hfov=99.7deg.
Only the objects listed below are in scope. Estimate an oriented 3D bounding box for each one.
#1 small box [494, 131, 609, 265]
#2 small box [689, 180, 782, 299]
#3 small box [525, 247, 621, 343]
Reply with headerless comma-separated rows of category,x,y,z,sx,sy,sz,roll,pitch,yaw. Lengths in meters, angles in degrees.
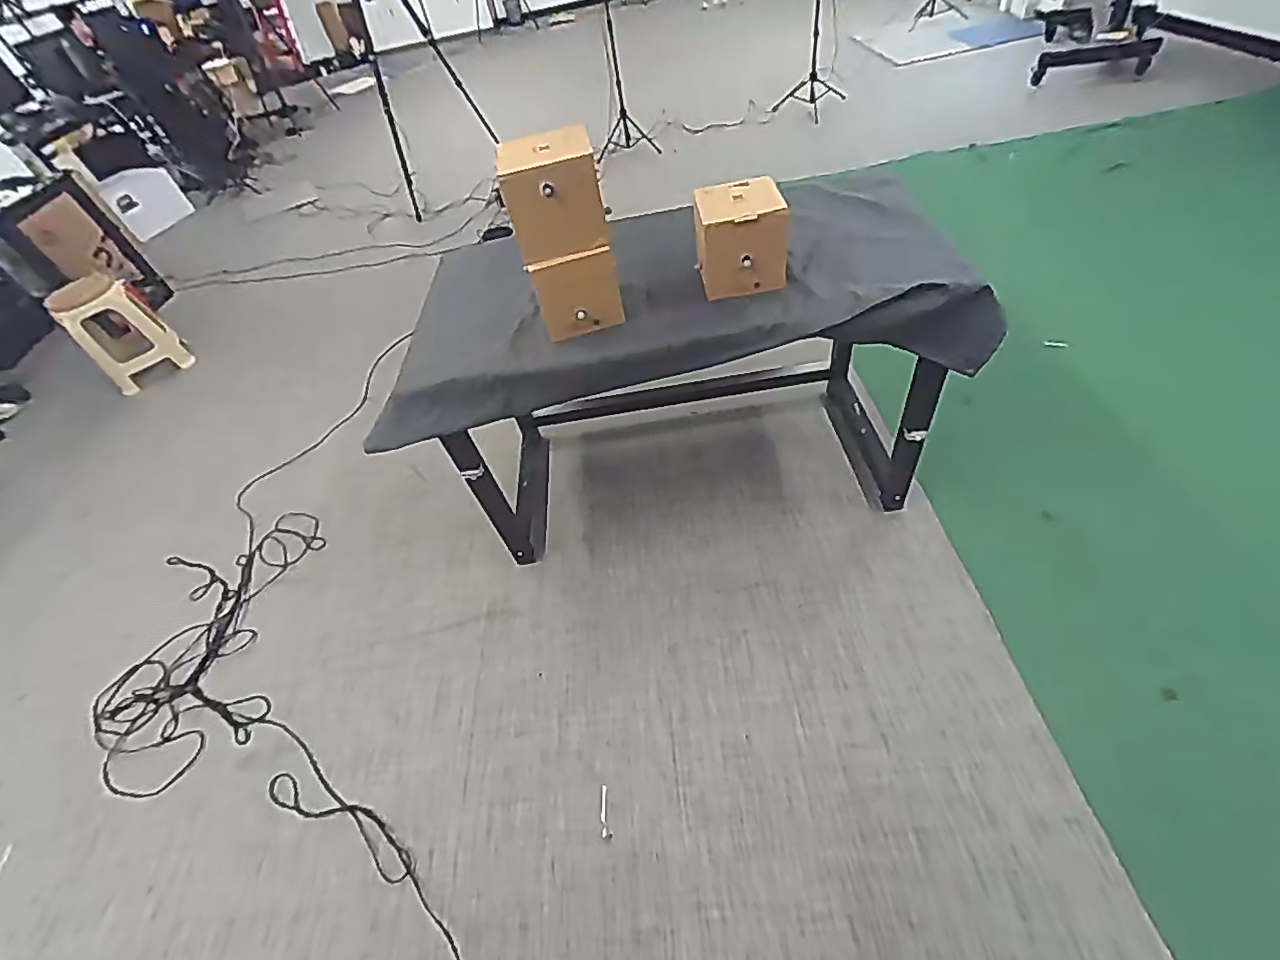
small box,-0.169,-0.538,1.043,0.179,0.176,0.168,-13,49,-1
small box,0.203,-0.505,1.156,0.168,0.176,0.179,-9,49,4
small box,-0.147,-0.421,1.154,0.168,0.176,0.179,-17,49,-3
